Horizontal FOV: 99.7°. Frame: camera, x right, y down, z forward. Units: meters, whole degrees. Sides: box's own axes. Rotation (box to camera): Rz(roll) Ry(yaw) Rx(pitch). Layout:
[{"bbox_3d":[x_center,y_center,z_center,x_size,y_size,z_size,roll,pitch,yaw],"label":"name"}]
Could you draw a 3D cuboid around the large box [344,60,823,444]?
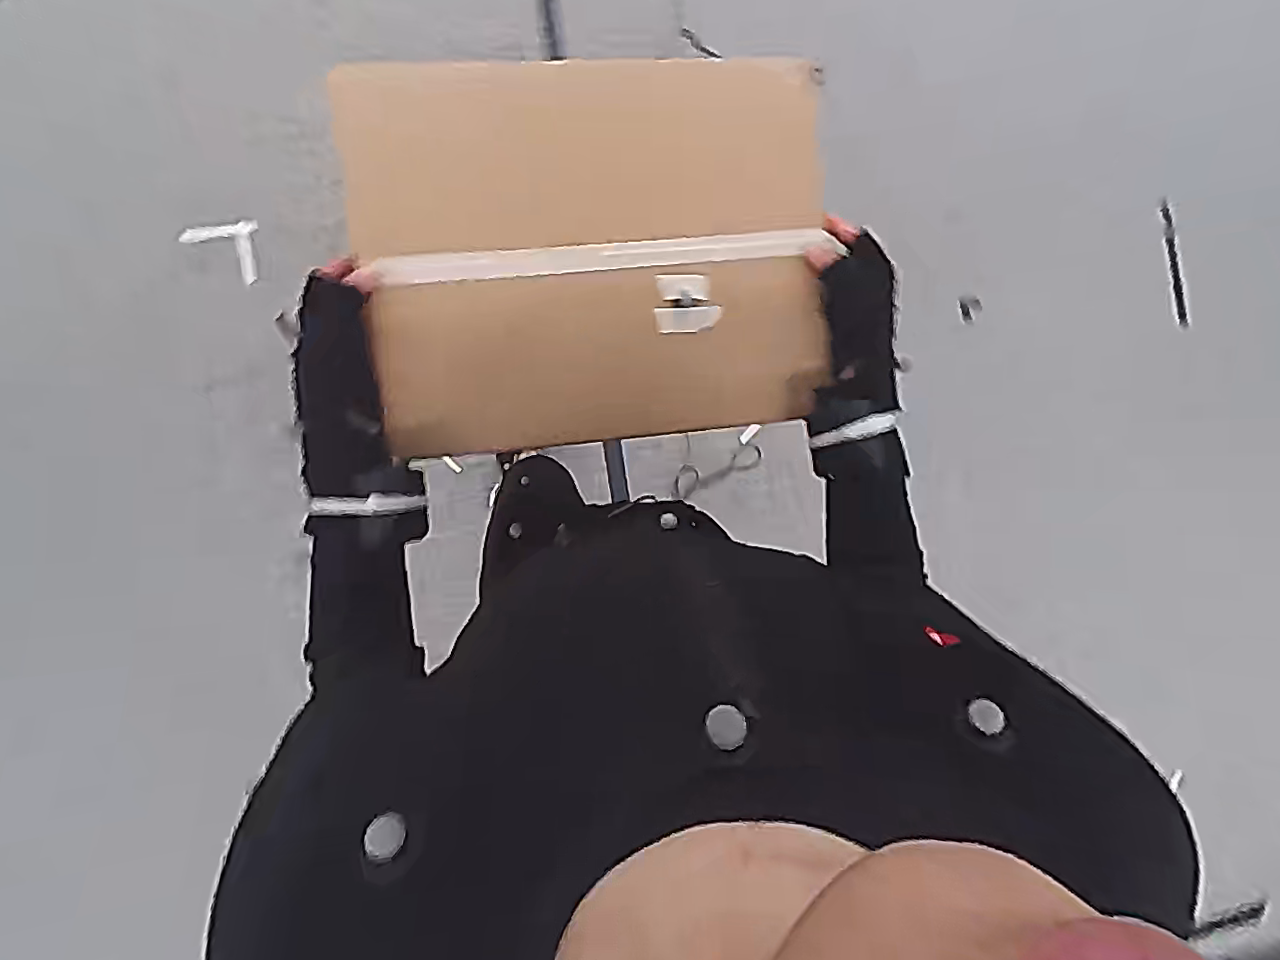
[{"bbox_3d":[-0.055,-0.222,0.626,0.408,0.320,0.320,-6,98,-9],"label":"large box"}]
